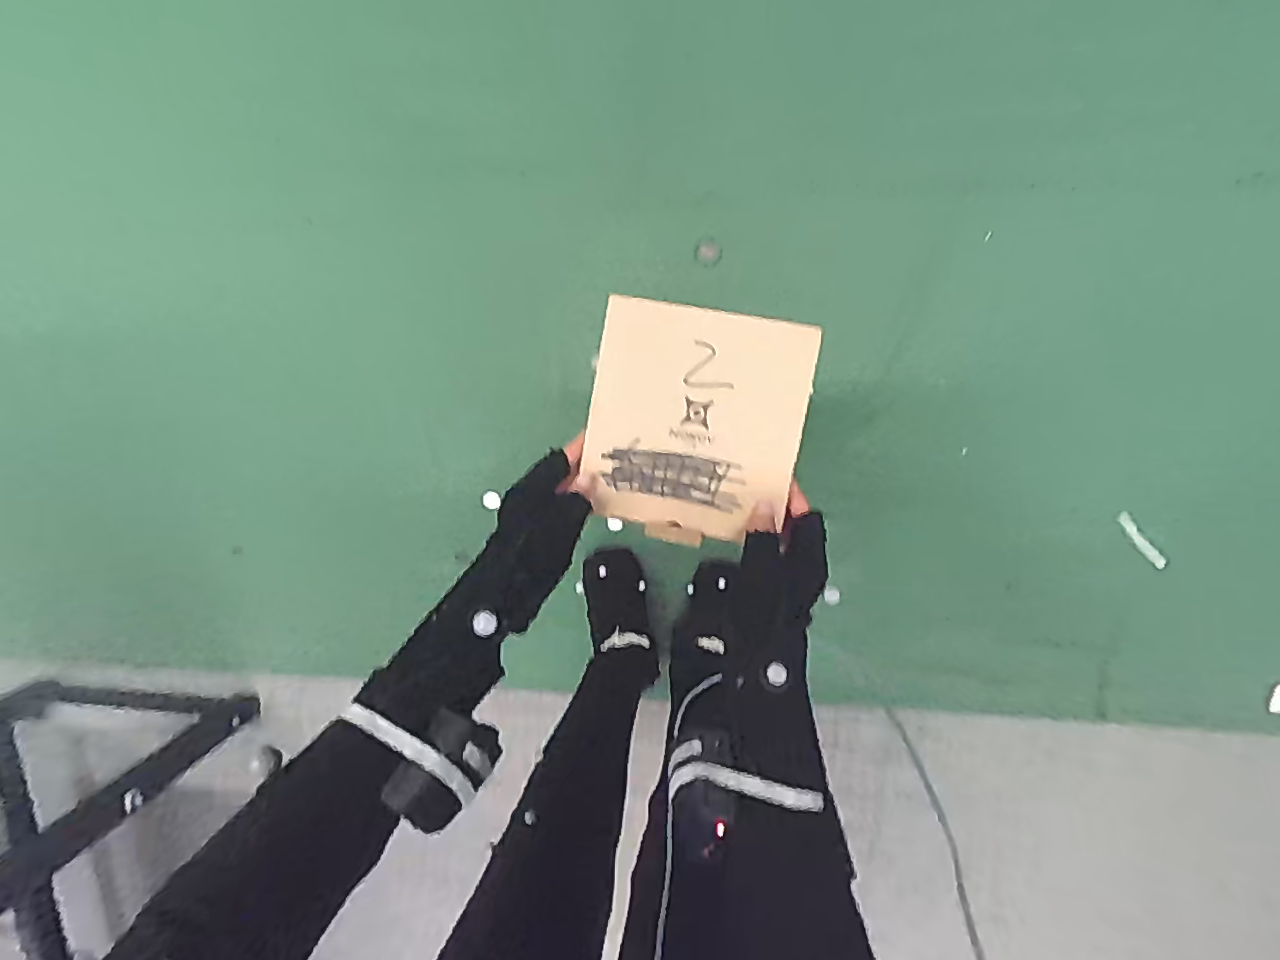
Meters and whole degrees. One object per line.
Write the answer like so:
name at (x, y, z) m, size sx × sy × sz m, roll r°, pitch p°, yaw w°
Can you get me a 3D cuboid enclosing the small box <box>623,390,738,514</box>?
small box at (0.069, -0.053, 0.885) m, size 0.168 × 0.176 × 0.179 m, roll 3°, pitch 101°, yaw 6°
